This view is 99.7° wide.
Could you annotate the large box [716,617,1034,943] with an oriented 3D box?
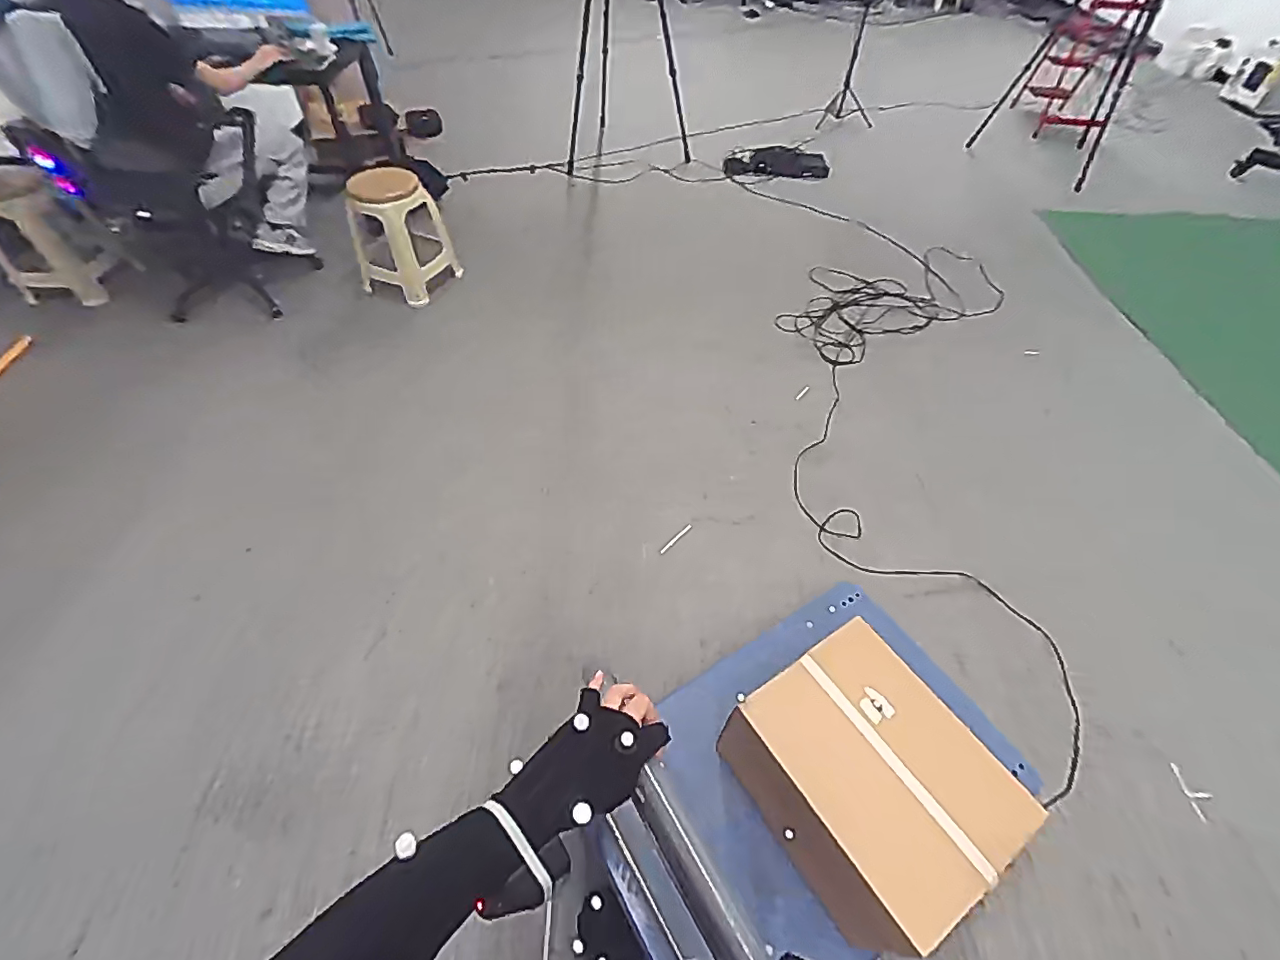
[{"bbox_3d":[0.398,0.555,1.027,0.320,0.320,0.408,-26,55,-21],"label":"large box"}]
